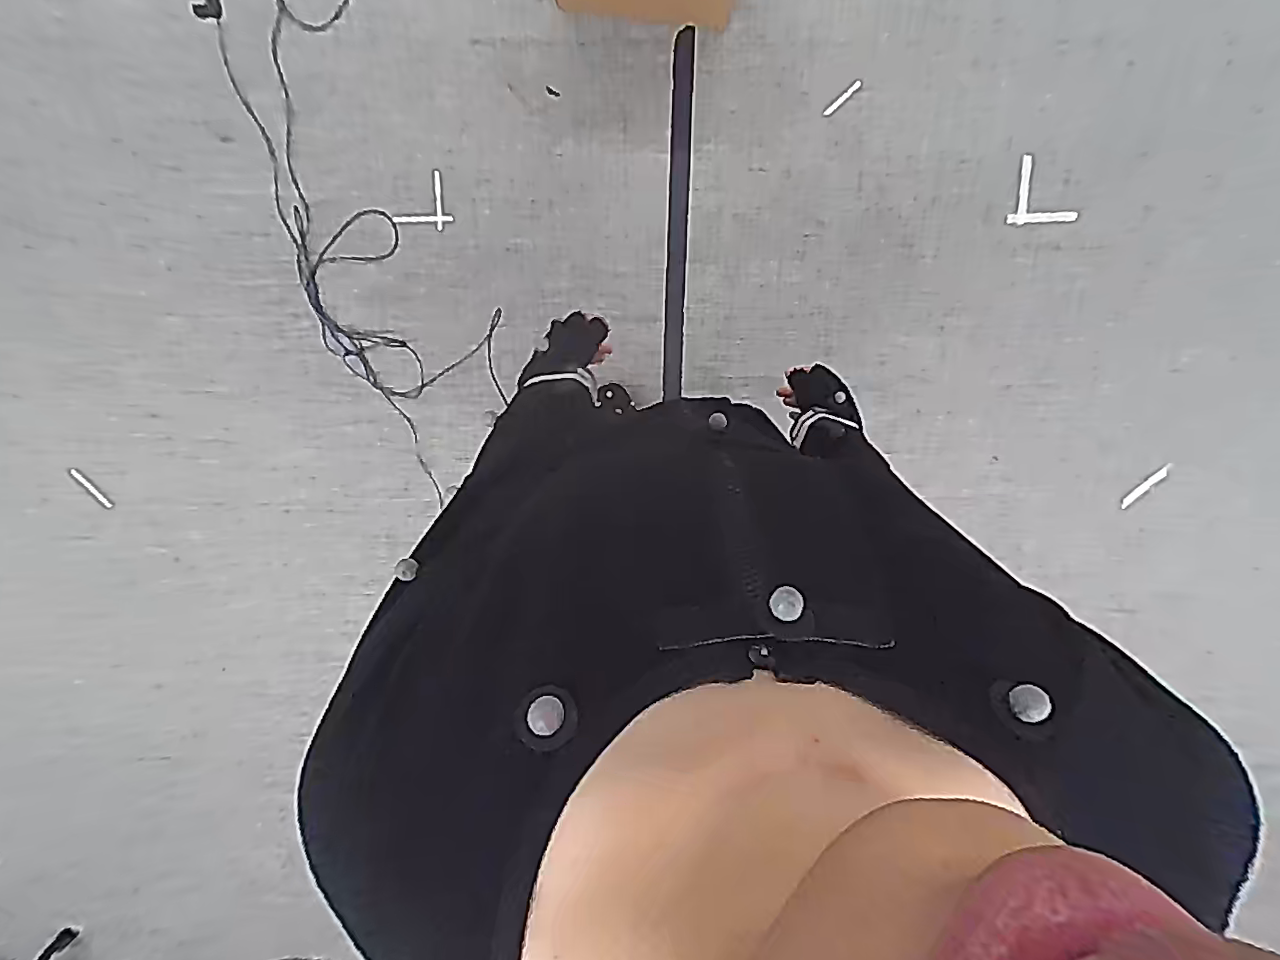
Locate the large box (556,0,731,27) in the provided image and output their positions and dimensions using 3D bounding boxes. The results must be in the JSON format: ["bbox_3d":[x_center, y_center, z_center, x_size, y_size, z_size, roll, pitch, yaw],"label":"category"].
[{"bbox_3d":[0.015,-1.210,1.112,0.408,0.320,0.320,6,101,-1],"label":"large box"}]
